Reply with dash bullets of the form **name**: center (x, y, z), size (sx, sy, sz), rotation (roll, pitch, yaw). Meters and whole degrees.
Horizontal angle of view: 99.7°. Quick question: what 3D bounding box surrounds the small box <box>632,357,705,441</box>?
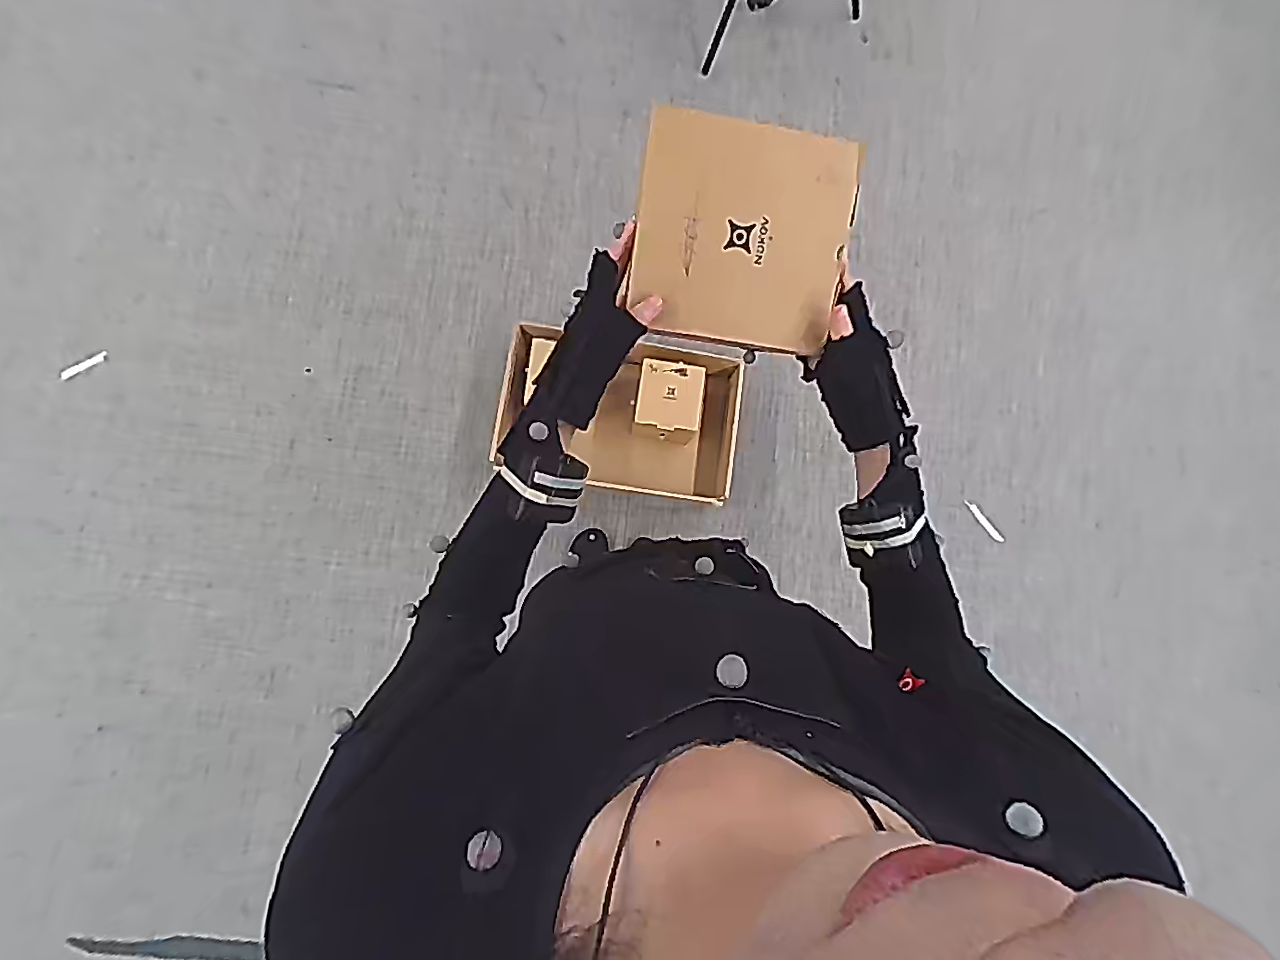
- **small box**: center (0.074, -0.212, 1.462), size (0.168, 0.176, 0.179), rotation (10, 83, -1)

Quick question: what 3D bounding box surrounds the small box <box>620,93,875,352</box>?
- **small box**: center (0.079, -0.216, 0.501), size (0.179, 0.176, 0.168), rotation (7, 103, -6)
